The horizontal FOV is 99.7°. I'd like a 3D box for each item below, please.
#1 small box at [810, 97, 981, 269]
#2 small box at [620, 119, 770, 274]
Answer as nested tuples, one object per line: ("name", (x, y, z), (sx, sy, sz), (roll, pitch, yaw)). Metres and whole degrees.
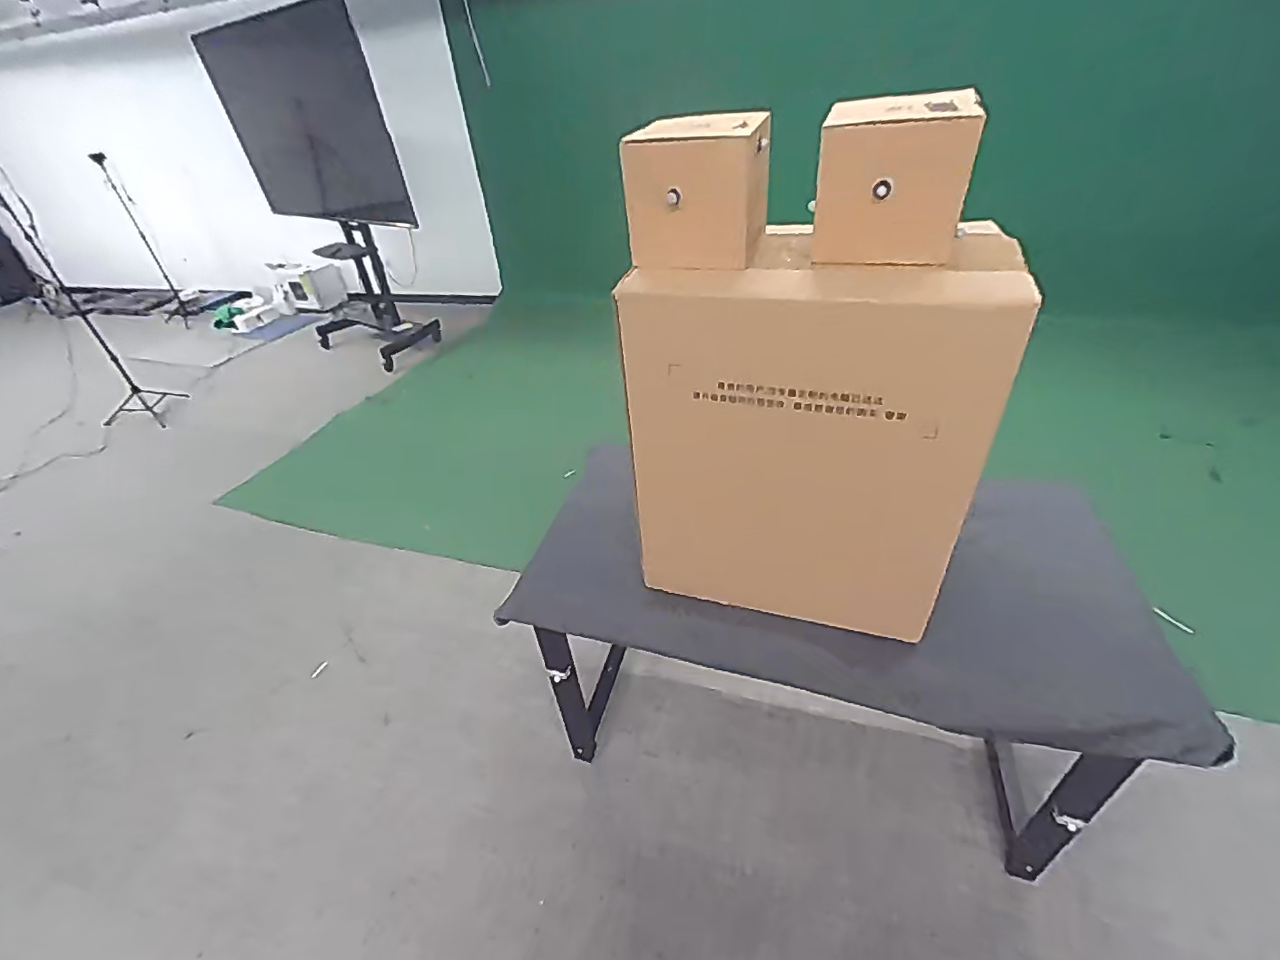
("small box", (0.338, -0.398, 0.735), (0.179, 0.176, 0.168), (8, 43, 20))
("small box", (0.090, -0.417, 0.804), (0.179, 0.176, 0.168), (8, 43, 19))
